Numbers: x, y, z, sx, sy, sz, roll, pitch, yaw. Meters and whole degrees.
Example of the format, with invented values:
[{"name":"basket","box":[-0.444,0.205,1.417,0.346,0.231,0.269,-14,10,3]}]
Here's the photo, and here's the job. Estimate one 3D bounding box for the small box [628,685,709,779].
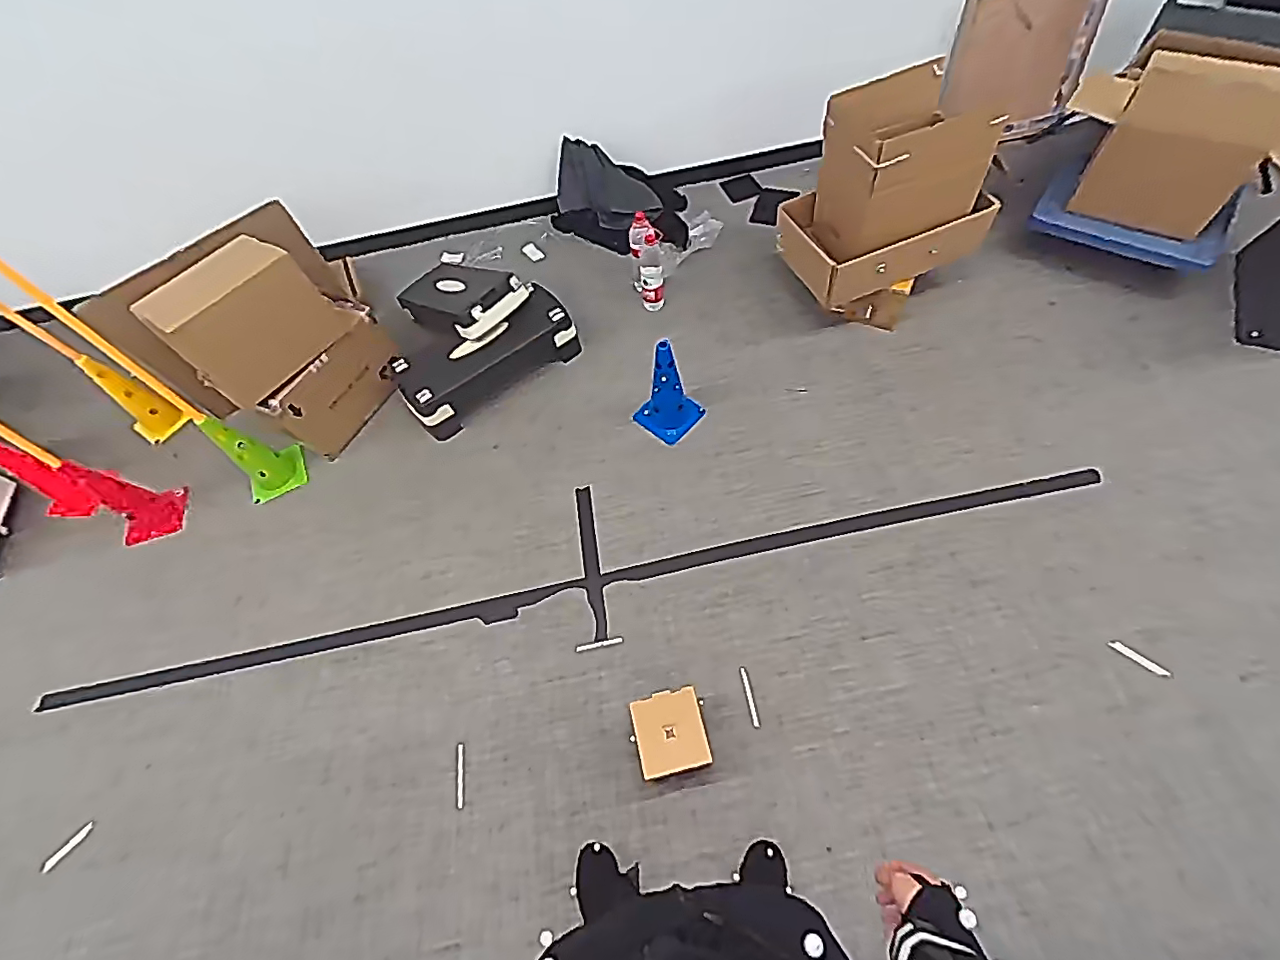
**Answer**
[{"name":"small box","box":[0.074,0.636,1.360,0.168,0.176,0.179,-14,59,-2]}]
